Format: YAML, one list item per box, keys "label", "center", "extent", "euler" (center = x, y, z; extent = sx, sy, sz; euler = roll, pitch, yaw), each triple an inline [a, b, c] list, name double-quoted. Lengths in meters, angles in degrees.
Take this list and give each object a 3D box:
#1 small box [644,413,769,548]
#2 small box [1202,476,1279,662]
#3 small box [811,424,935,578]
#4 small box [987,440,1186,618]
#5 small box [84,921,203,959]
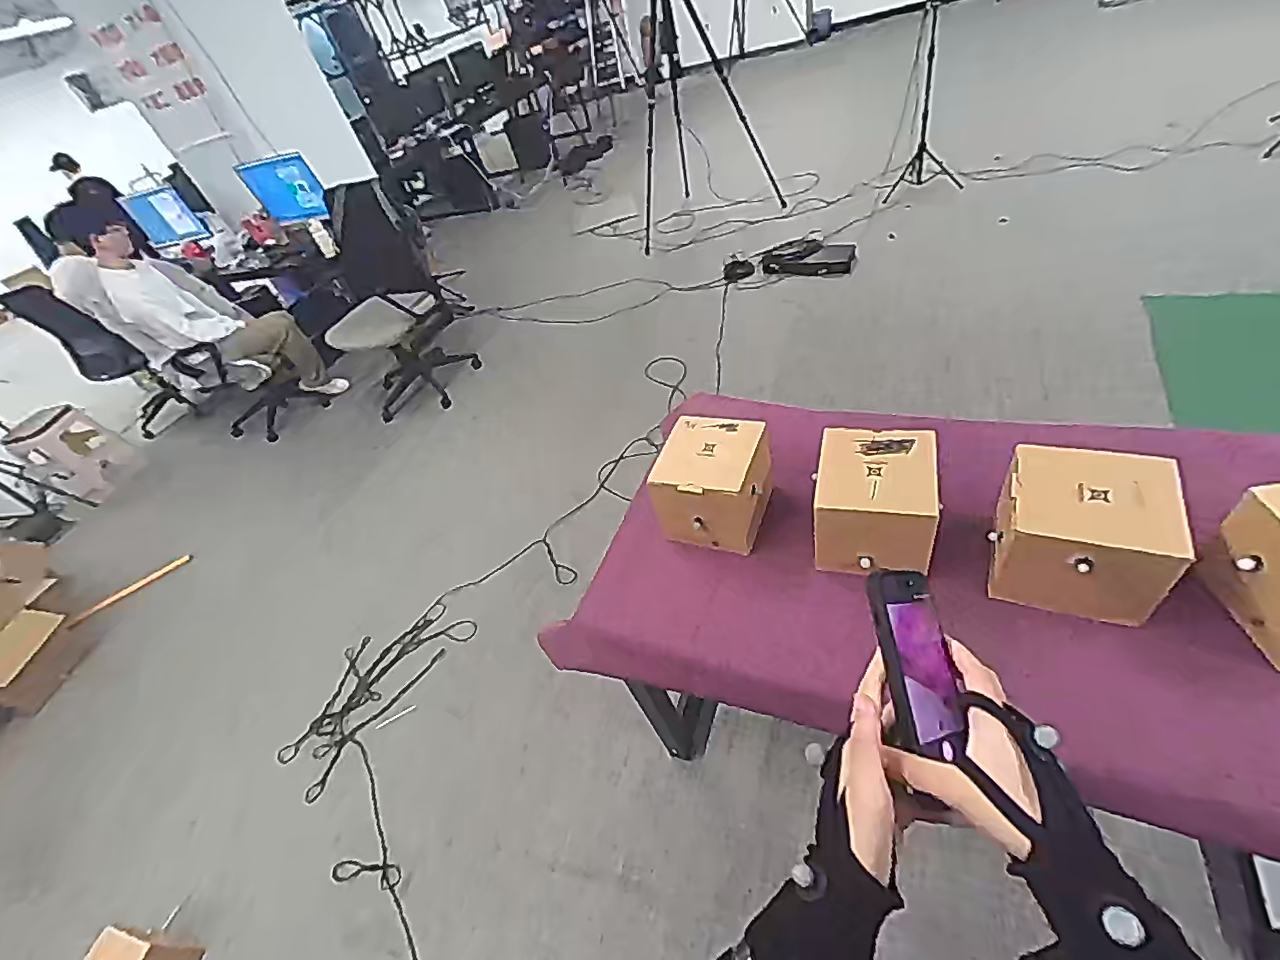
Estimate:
- label: "small box"
  center: [0.132, 0.001, 0.986]
  extent: [0.168, 0.176, 0.179]
  euler: [8, 51, 27]
- label: "small box"
  center: [0.826, 0.102, 0.631]
  extent: [0.179, 0.176, 0.168]
  euler: [-9, 44, 11]
- label: "small box"
  center: [0.371, 0.031, 0.869]
  extent: [0.168, 0.176, 0.179]
  euler: [4, 49, 23]
- label: "small box"
  center: [0.599, 0.068, 0.750]
  extent: [0.179, 0.176, 0.168]
  euler: [10, 52, 28]
- label: "small box"
  center: [-1.244, 1.217, 1.329]
  extent: [0.179, 0.176, 0.168]
  euler: [0, 47, 20]
